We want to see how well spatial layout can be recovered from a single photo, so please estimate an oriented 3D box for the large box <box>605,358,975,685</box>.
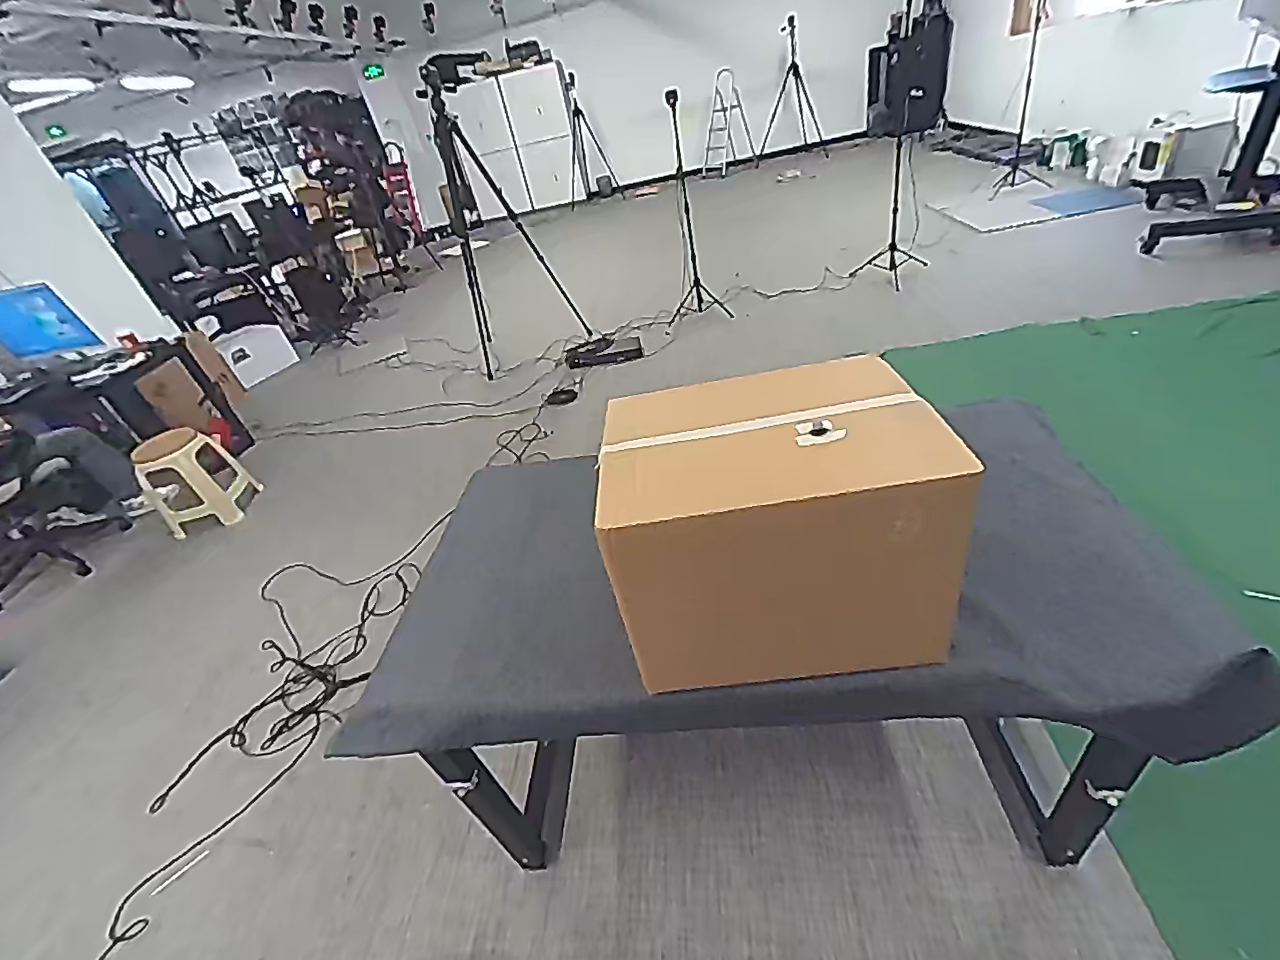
[{"bbox_3d":[0.177,0.055,0.780,0.408,0.320,0.320,-8,35,6],"label":"large box"}]
